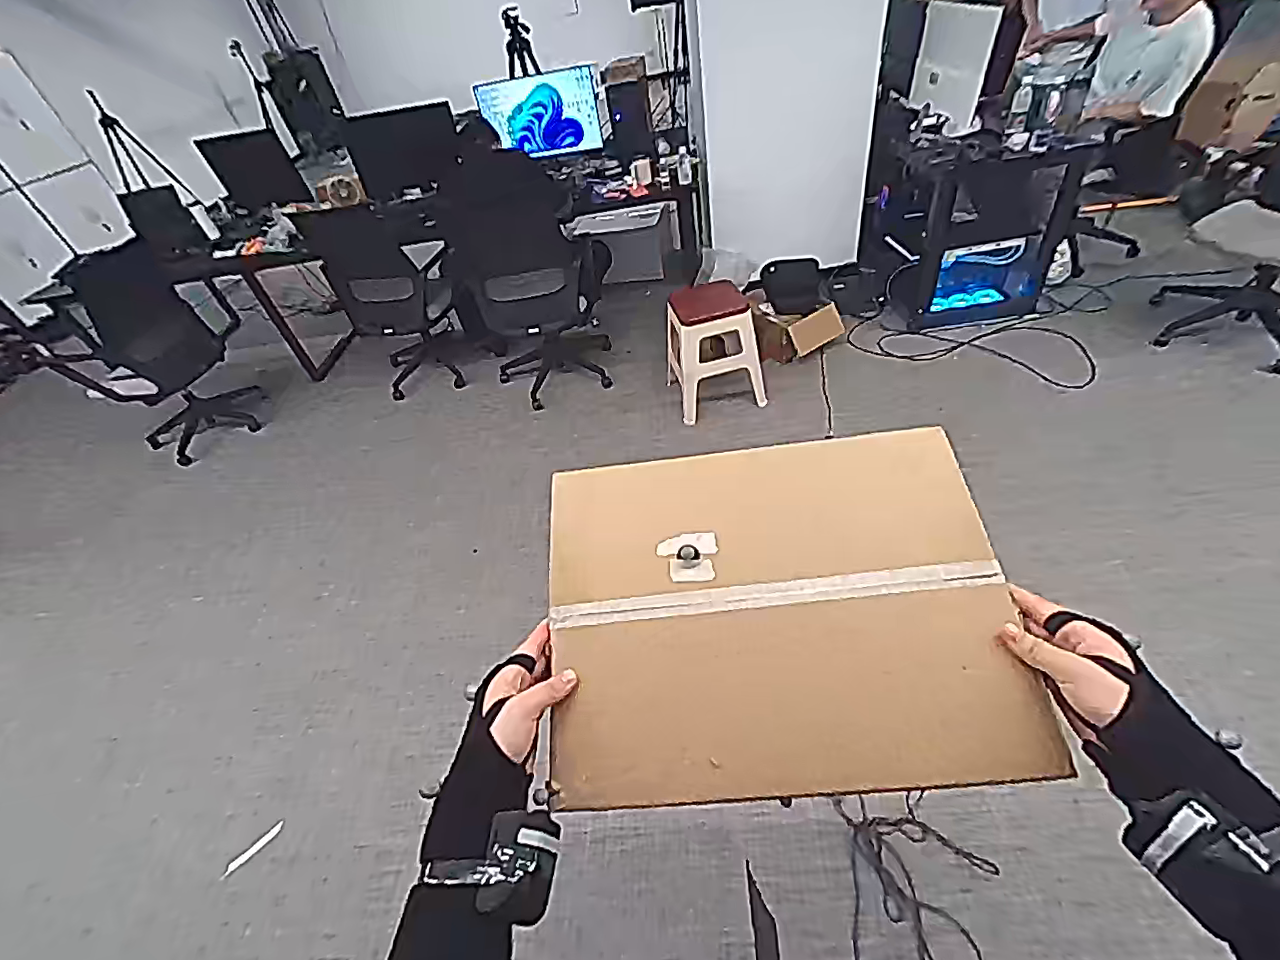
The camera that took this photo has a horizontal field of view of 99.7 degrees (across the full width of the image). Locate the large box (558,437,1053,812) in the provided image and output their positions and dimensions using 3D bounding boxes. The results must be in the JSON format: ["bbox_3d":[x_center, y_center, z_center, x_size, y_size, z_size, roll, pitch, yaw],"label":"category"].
[{"bbox_3d":[0.141,0.183,0.638,0.408,0.320,0.320,-8,61,5],"label":"large box"}]
